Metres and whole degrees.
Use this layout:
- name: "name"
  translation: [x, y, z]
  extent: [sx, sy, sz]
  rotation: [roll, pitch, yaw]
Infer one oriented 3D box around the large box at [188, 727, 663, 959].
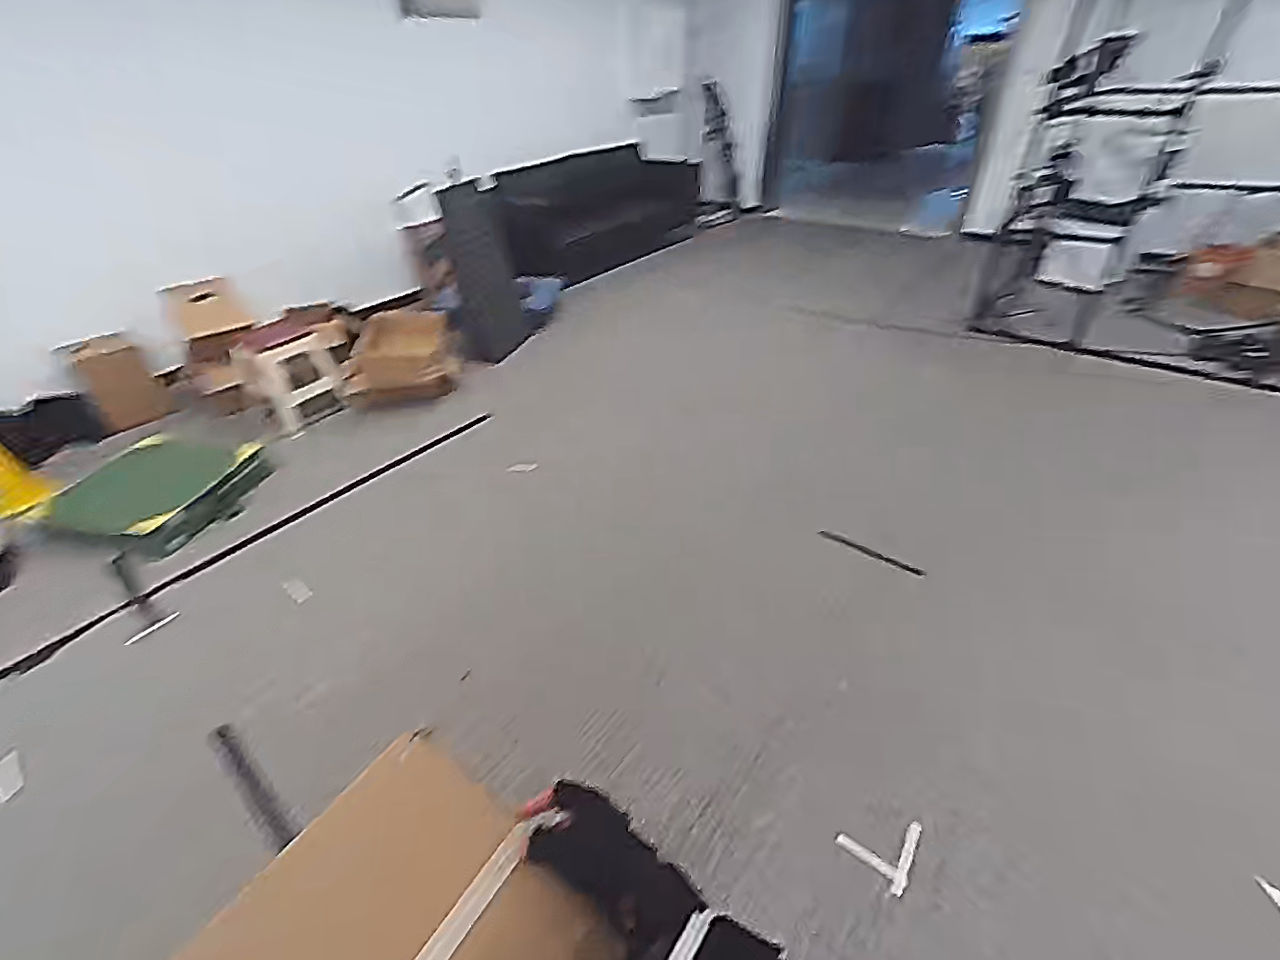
- name: "large box"
  translation: [-0.226, 0.536, 0.485]
  extent: [0.320, 0.320, 0.408]
  rotation: [29, 47, 21]
